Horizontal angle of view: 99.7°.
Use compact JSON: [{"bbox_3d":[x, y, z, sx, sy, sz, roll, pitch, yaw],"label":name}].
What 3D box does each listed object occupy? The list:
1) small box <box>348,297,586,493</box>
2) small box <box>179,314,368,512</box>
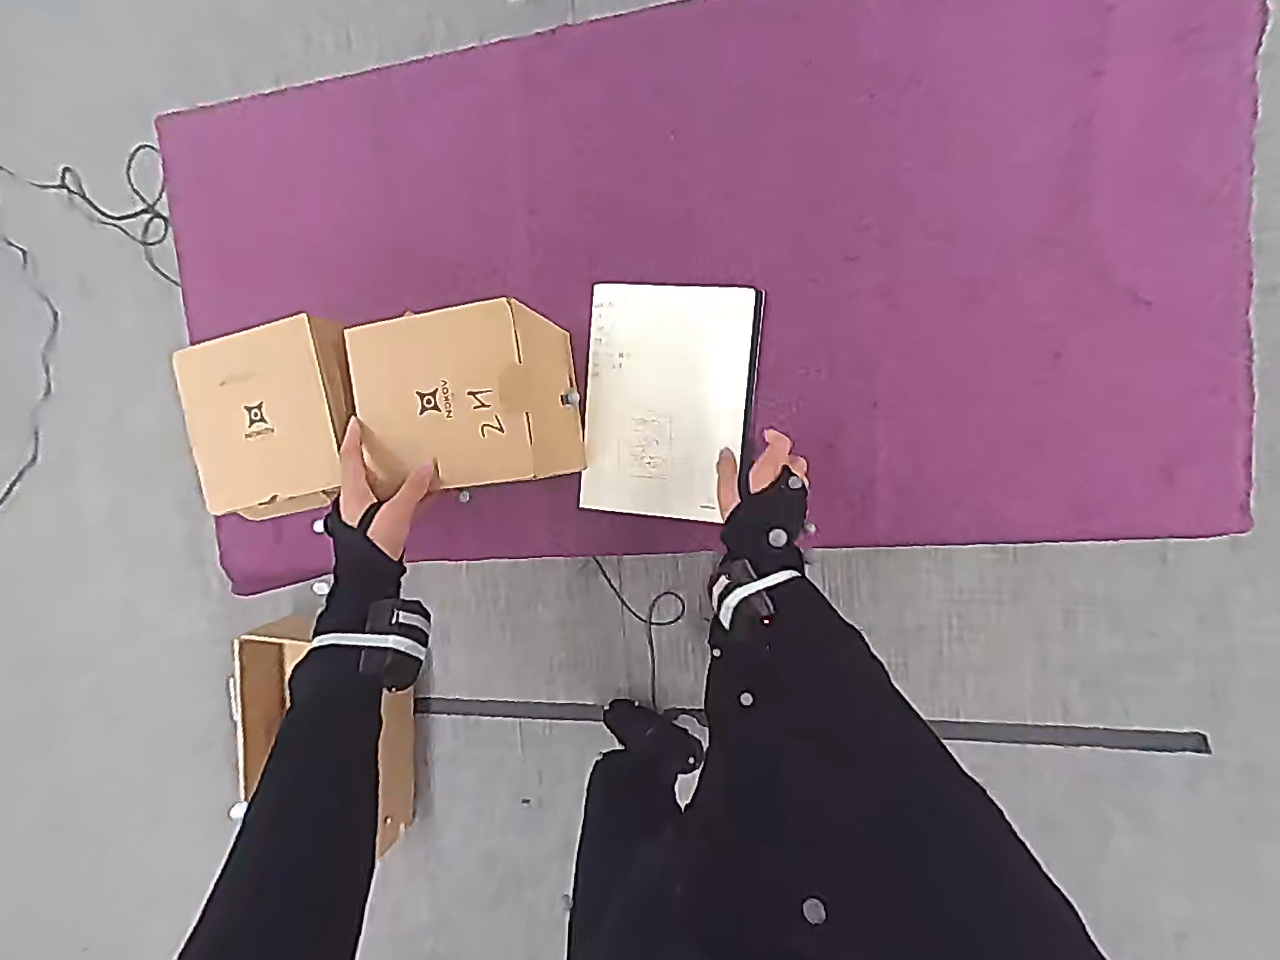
[{"bbox_3d":[-0.172,-0.080,0.582,0.179,0.176,0.168,-7,93,11],"label":"small box"},{"bbox_3d":[-0.364,-0.072,0.622,0.168,0.176,0.179,-11,93,11],"label":"small box"}]
